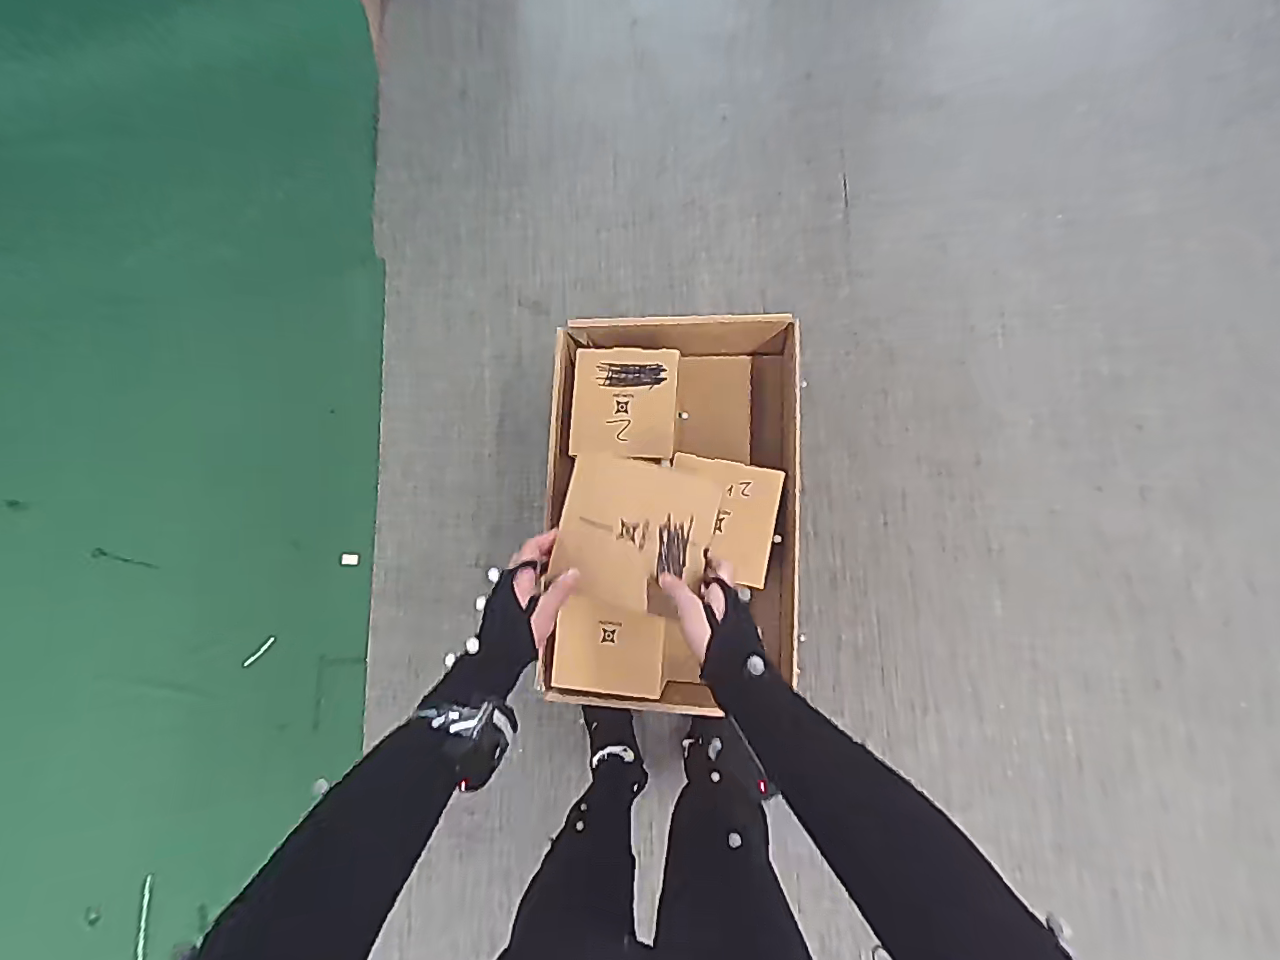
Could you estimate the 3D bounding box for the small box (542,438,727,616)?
[{"bbox_3d":[-0.003,0.056,0.681,0.179,0.176,0.168,14,86,4],"label":"small box"}]
